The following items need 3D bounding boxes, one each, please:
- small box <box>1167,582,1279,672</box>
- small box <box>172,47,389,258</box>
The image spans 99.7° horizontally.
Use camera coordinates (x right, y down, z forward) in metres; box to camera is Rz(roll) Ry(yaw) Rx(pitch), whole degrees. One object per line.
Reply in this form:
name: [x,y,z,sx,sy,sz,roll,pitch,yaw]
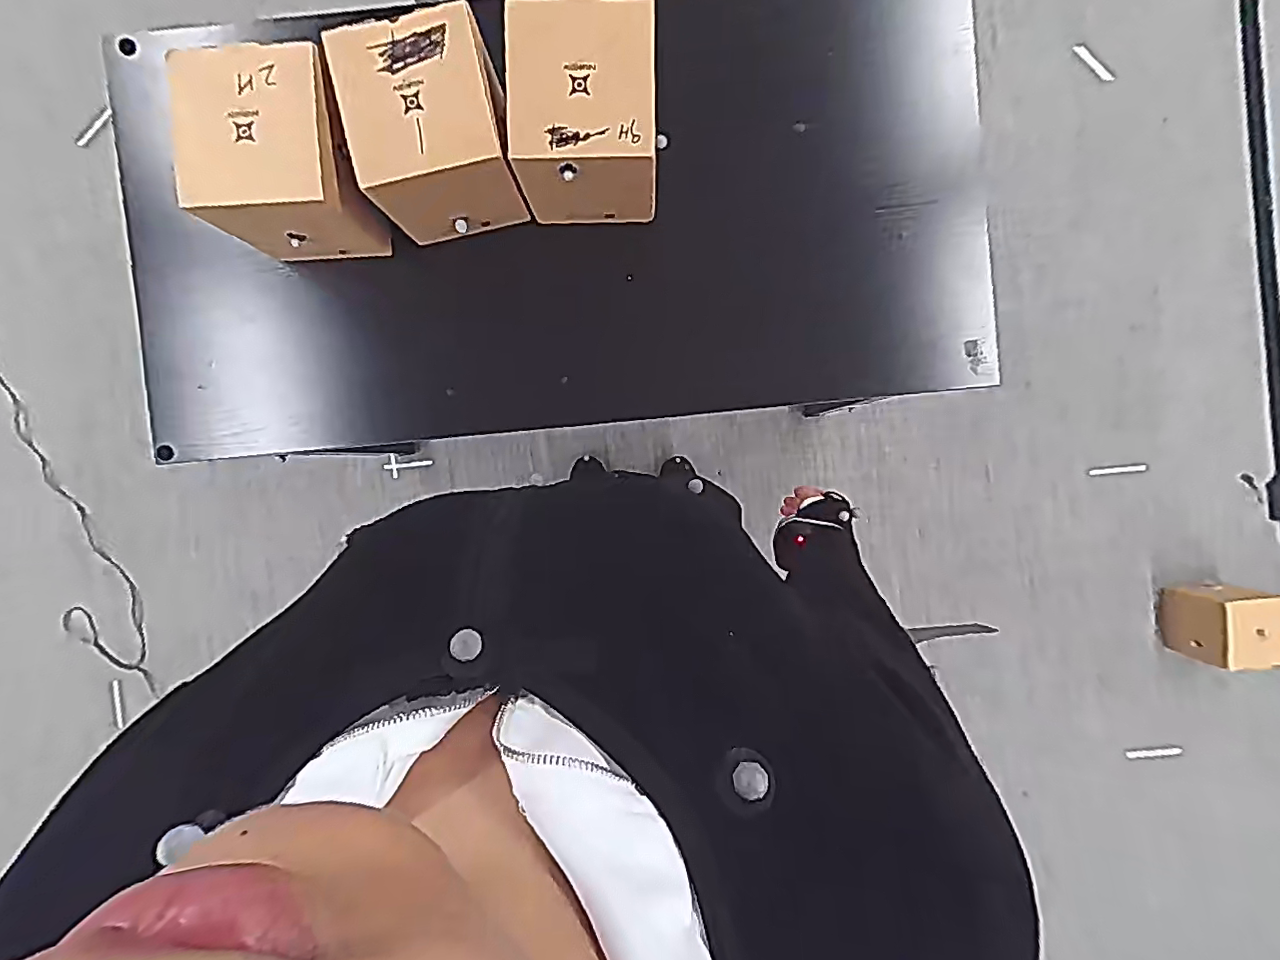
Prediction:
small box: [1.525,0.373,1.396,0.168,0.176,0.179,-6,91,1]
small box: [-0.436,-0.394,0.685,0.168,0.176,0.179,-3,91,0]
